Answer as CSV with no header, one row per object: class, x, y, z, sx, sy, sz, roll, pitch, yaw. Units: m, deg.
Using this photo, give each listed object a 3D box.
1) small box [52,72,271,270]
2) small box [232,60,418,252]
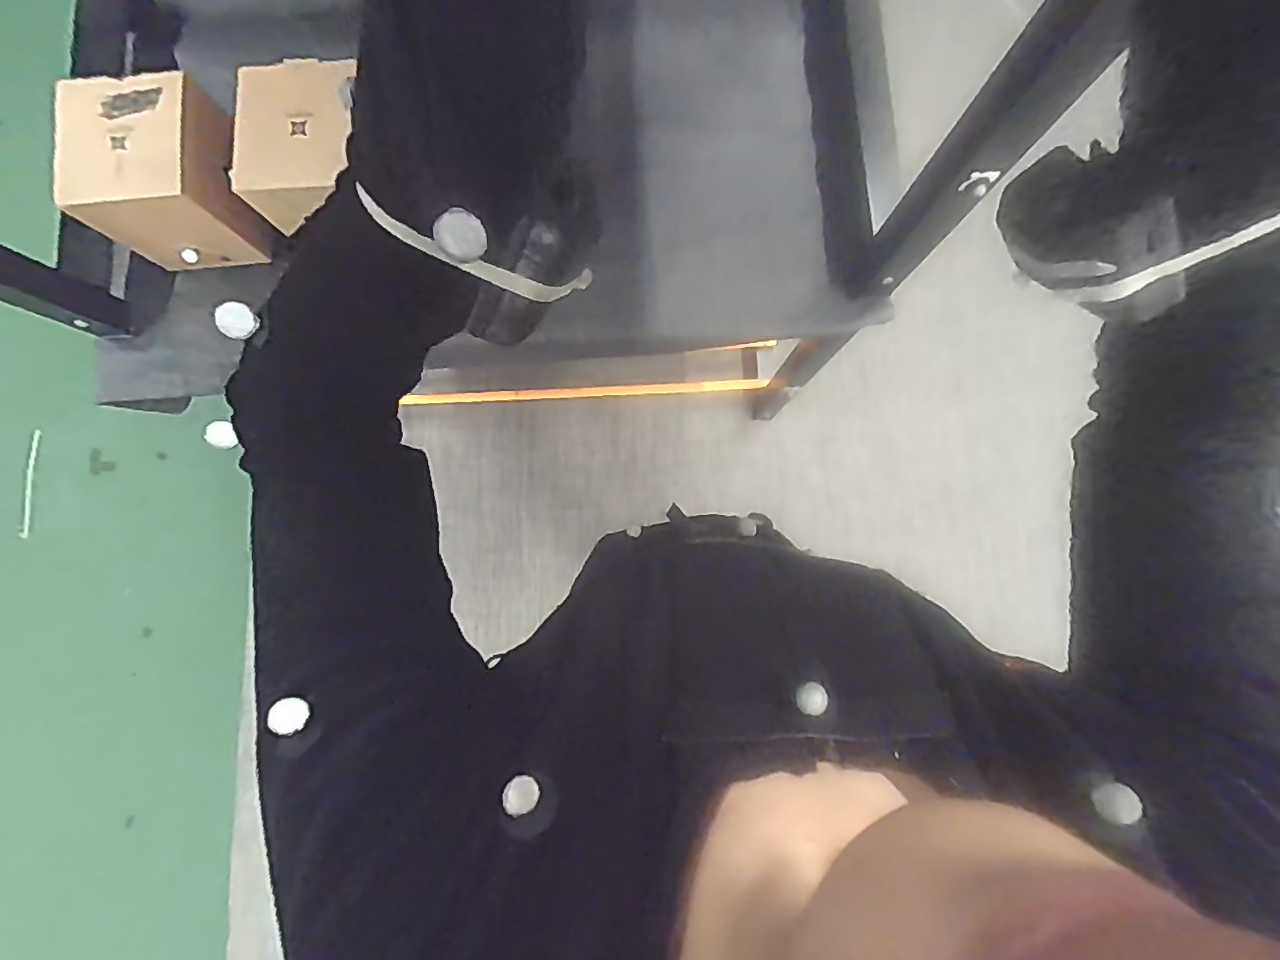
small box,-0.654,-0.424,0.763,0.168,0.176,0.179,-5,83,1
small box,-0.428,-0.439,0.761,0.168,0.176,0.179,-2,82,1
